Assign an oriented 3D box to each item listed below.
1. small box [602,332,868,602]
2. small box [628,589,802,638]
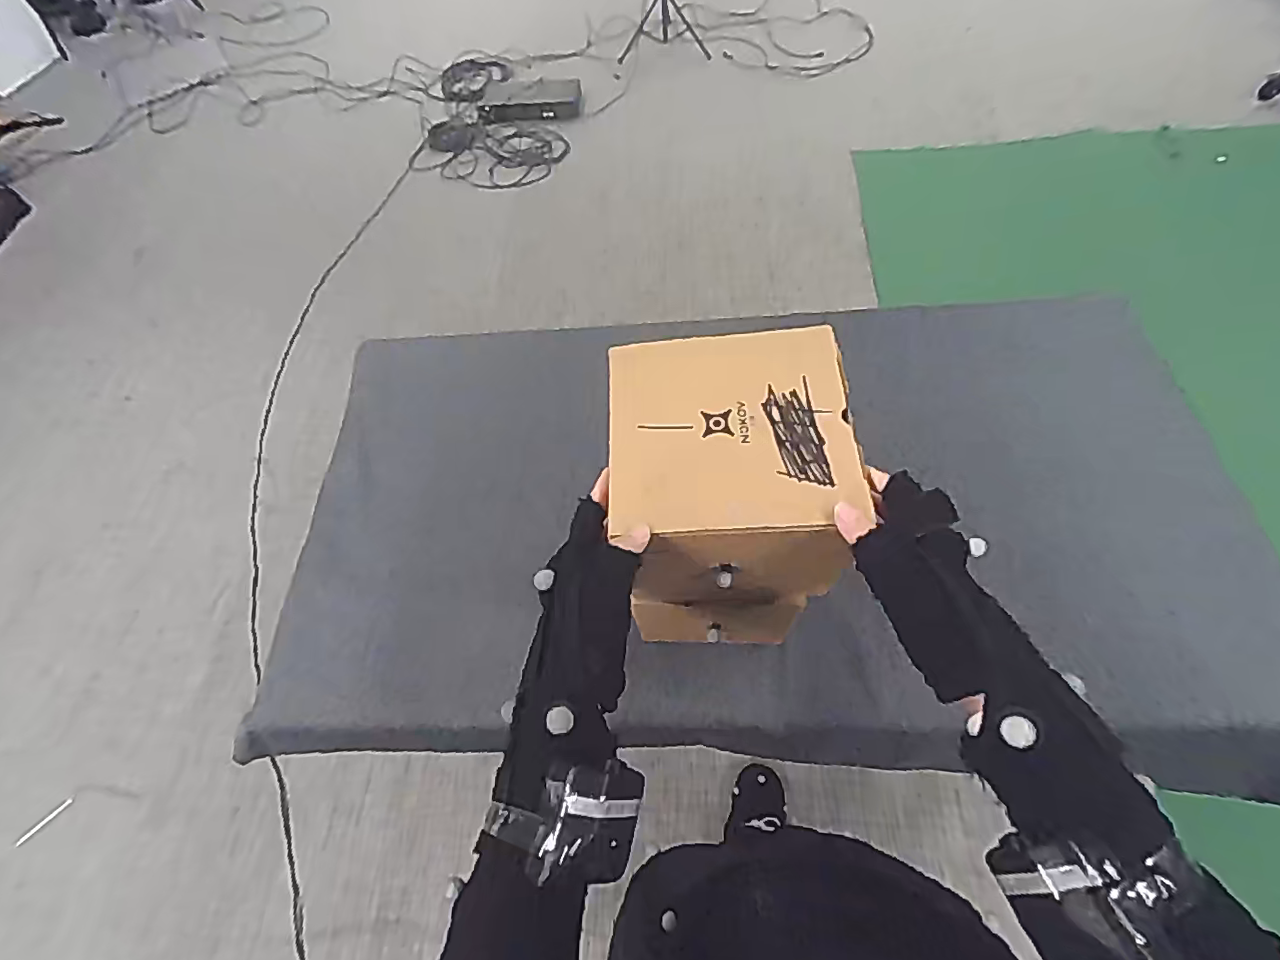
[{"bbox_3d":[0.068,0.001,0.459,0.179,0.176,0.168,-5,62,6],"label":"small box"},{"bbox_3d":[0.081,0.078,0.611,0.168,0.176,0.179,-2,62,6],"label":"small box"}]
